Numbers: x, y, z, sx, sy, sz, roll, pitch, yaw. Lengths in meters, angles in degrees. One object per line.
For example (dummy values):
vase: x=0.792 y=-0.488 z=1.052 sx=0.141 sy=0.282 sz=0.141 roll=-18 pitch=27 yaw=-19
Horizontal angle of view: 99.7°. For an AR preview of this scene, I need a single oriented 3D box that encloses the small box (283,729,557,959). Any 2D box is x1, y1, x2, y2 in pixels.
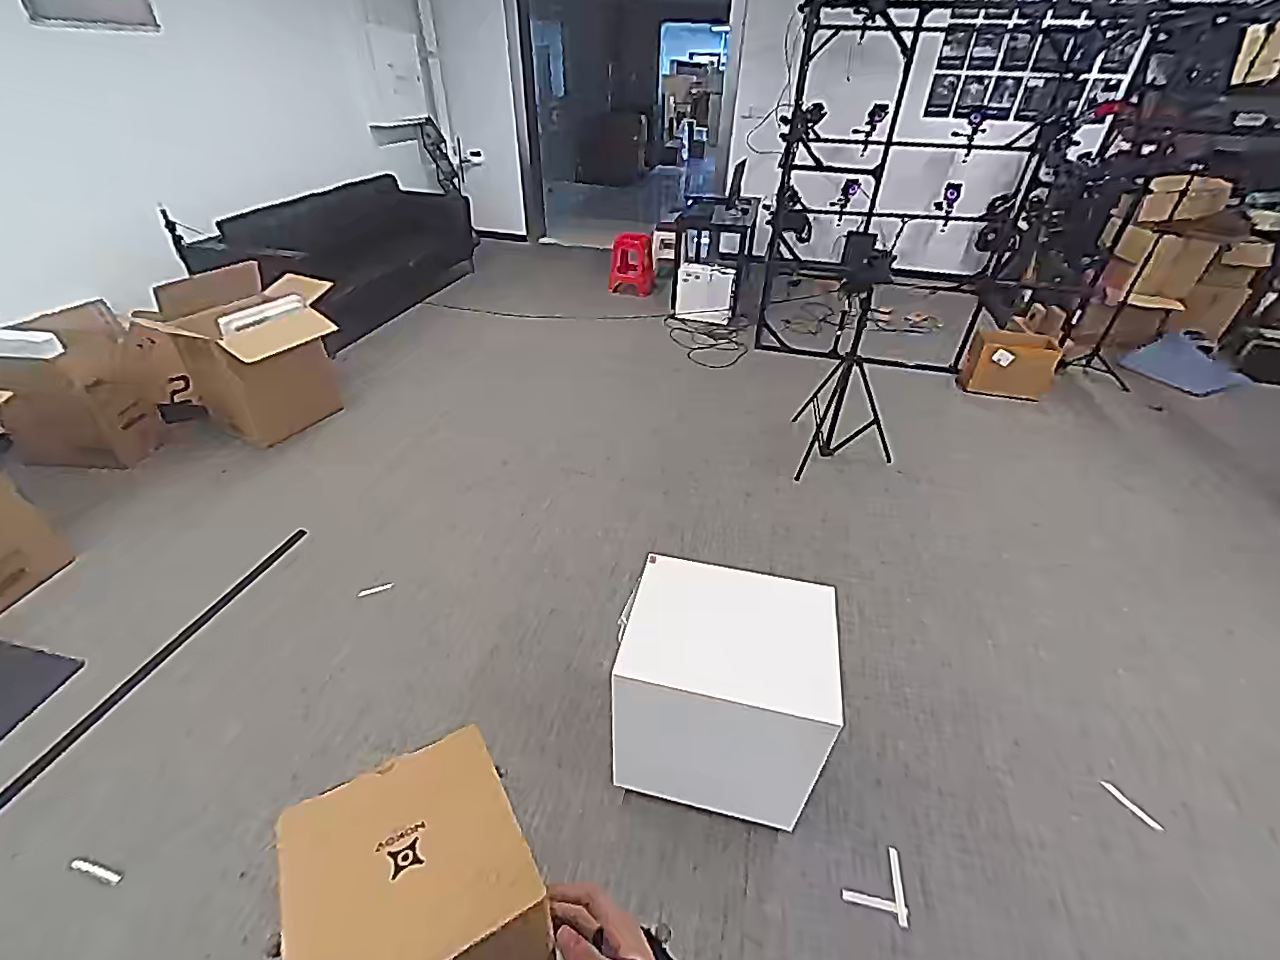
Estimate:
small box: x=-0.176 y=0.359 z=0.449 sx=0.168 sy=0.176 sz=0.179 roll=-15 pitch=30 yaw=-29
